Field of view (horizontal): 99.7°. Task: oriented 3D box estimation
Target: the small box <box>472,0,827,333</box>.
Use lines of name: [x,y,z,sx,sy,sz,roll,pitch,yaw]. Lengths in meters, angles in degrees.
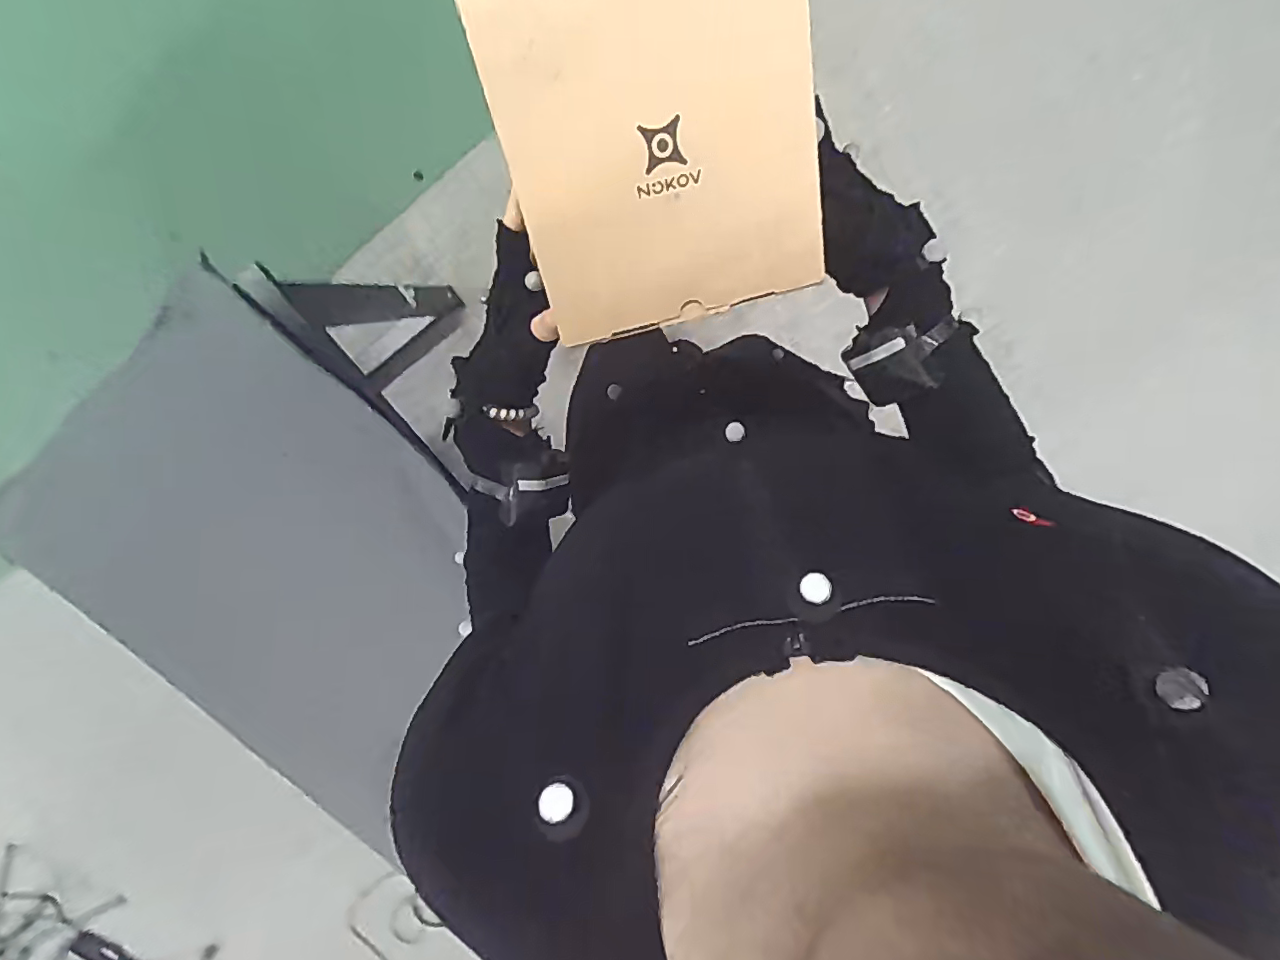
small box: [0.008,-0.218,0.355,0.168,0.176,0.179,-13,120,3]
